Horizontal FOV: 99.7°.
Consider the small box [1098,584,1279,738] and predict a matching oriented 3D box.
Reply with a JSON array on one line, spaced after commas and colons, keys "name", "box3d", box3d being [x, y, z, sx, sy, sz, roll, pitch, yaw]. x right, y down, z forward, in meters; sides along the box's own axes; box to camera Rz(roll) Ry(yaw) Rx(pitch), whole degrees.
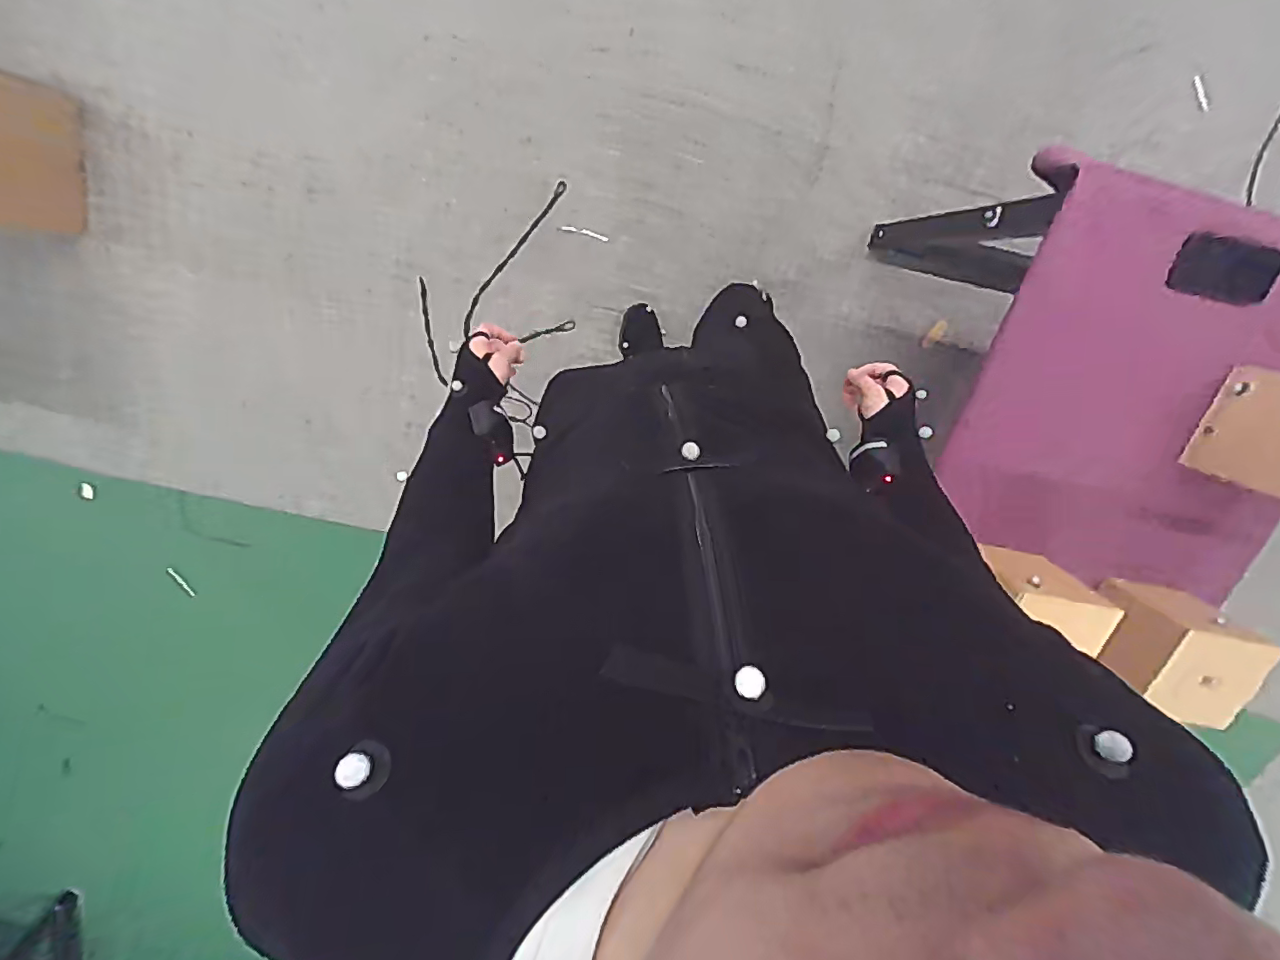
[{"name": "small box", "box3d": [0.909, 0.297, 0.916, 0.179, 0.176, 0.168, 13, 110, -4]}]

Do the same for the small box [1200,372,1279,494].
[{"name": "small box", "box3d": [0.994, -0.052, 0.779, 0.179, 0.176, 0.168, 11, 110, -5]}]

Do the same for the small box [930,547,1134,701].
[{"name": "small box", "box3d": [0.625, 0.228, 0.888, 0.179, 0.176, 0.168, 12, 111, -5]}]
